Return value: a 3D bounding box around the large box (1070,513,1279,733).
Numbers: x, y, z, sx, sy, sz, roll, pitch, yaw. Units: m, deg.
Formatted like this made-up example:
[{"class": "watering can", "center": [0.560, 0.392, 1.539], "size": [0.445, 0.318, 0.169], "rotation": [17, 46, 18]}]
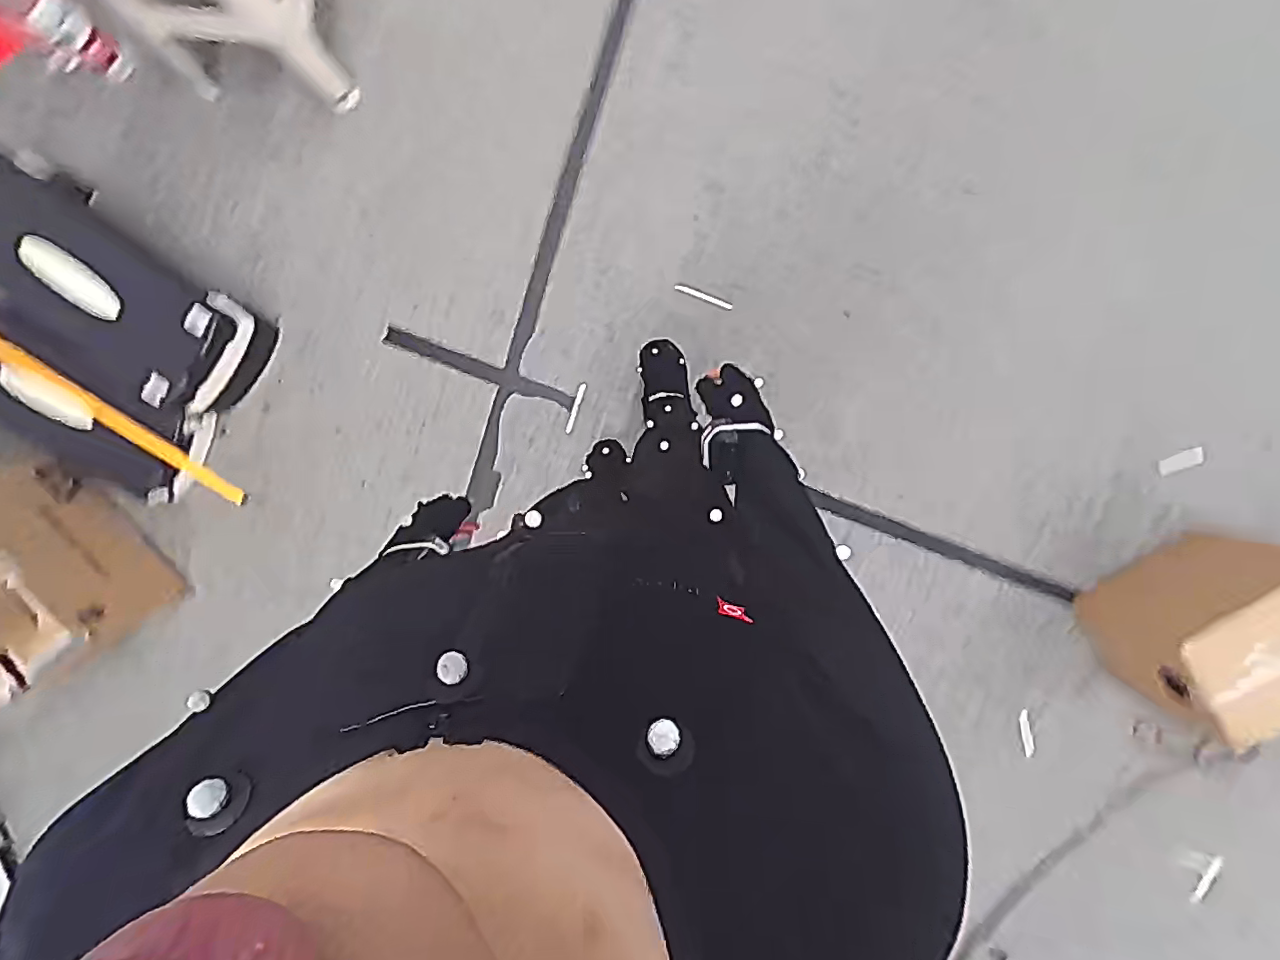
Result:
[{"class": "large box", "center": [1.453, 0.340, 1.381], "size": [0.408, 0.320, 0.320], "rotation": [-32, 96, 5]}]
